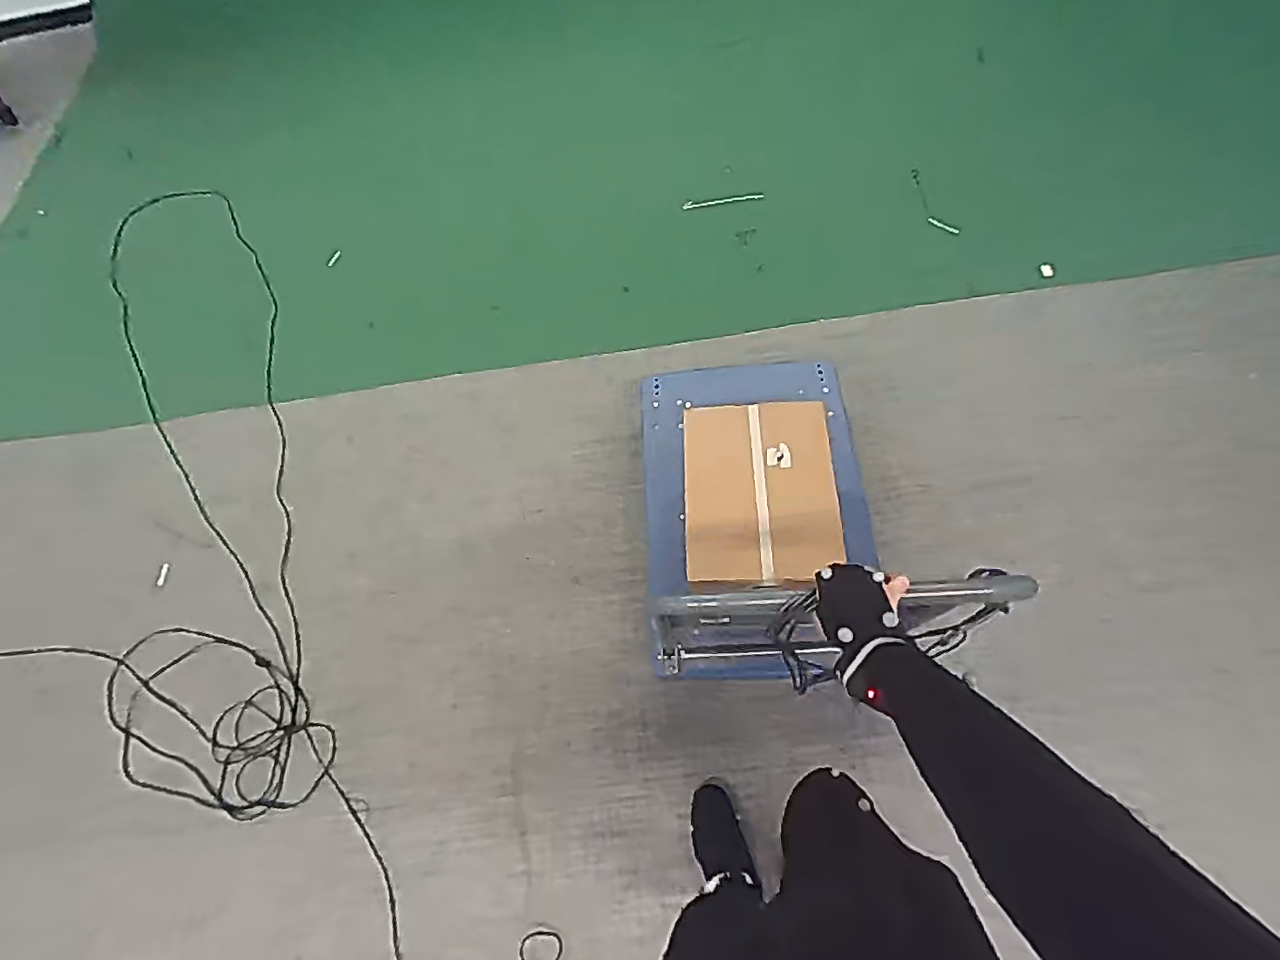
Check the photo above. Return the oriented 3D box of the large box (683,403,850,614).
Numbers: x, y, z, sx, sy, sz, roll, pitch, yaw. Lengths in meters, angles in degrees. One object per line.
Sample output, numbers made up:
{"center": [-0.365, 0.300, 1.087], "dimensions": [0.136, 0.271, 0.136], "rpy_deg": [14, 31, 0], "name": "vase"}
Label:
{"center": [0.269, 0.079, 1.259], "dimensions": [0.320, 0.320, 0.408], "rpy_deg": [-2, 64, 6], "name": "large box"}
